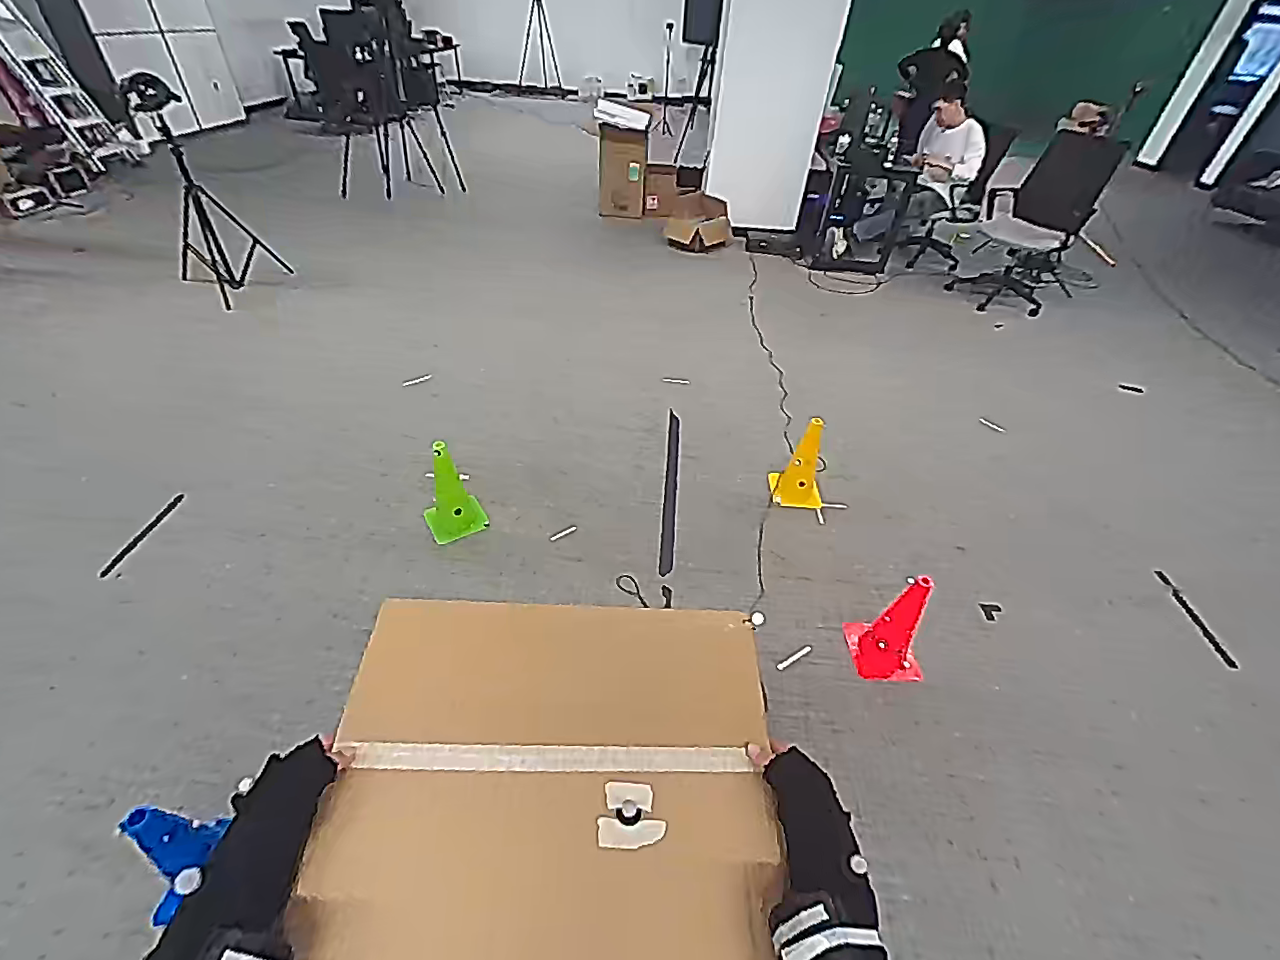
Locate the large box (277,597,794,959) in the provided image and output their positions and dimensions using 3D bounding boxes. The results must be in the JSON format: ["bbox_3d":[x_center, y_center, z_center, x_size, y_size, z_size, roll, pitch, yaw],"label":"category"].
[{"bbox_3d":[-0.090,0.352,0.621,0.408,0.320,0.320,4,49,-4],"label":"large box"}]

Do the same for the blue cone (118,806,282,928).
[{"bbox_3d":[-0.911,0.742,1.088,0.192,0.380,0.193,6,41,4],"label":"blue cone"}]

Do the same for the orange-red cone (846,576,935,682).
[{"bbox_3d":[0.773,0.408,1.590,0.198,0.360,0.199,4,40,-1],"label":"orange-red cone"}]

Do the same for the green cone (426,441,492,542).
[{"bbox_3d":[-0.675,0.010,1.918,0.202,0.368,0.200,-23,47,-25],"label":"green cone"}]
